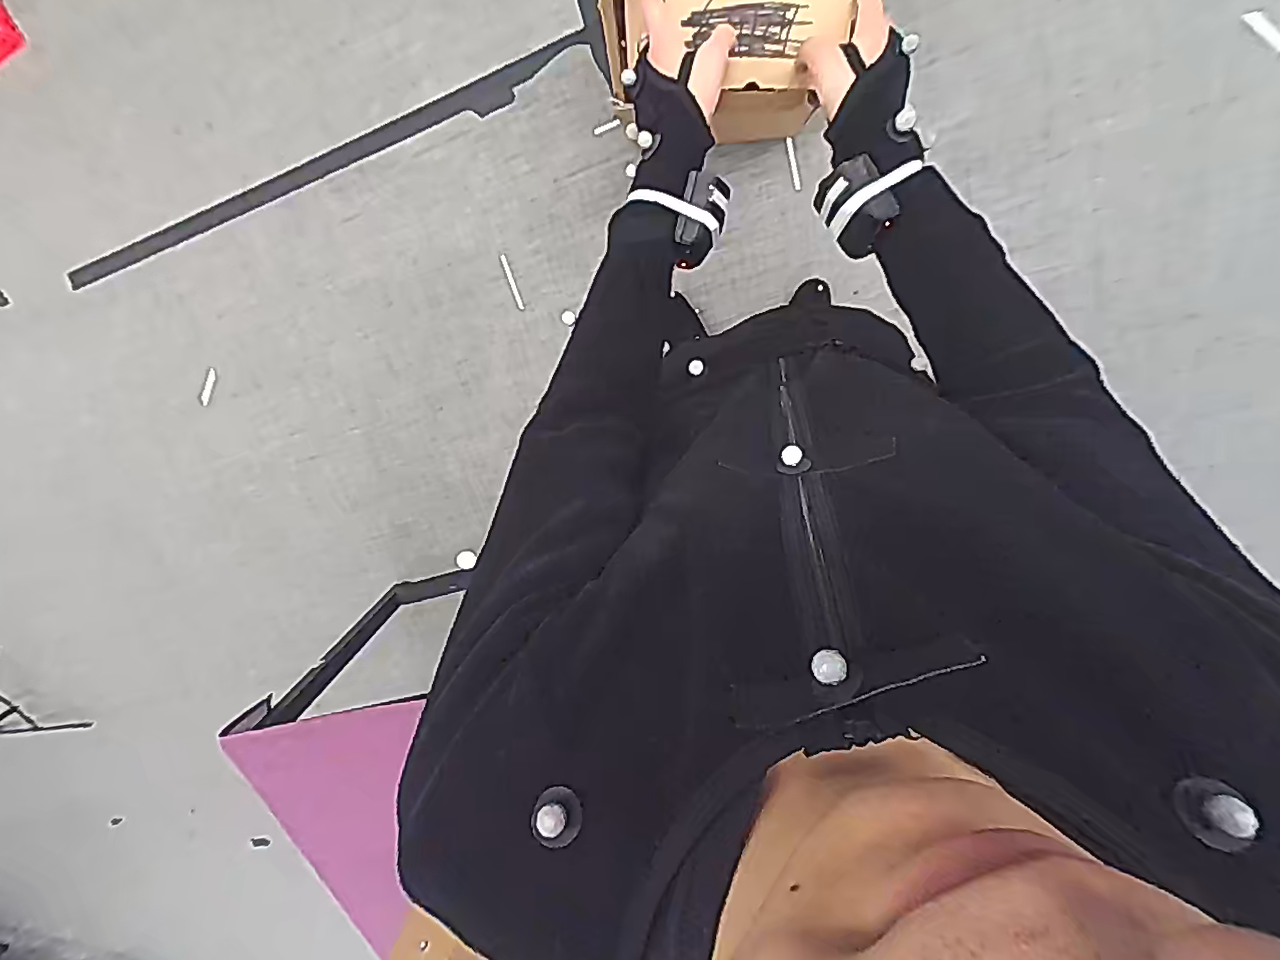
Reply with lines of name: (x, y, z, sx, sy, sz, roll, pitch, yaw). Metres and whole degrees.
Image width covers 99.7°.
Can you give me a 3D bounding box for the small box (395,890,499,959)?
small box: (-0.464, 1.139, 1.317, 0.179, 0.176, 0.168, -18, 107, 13)
